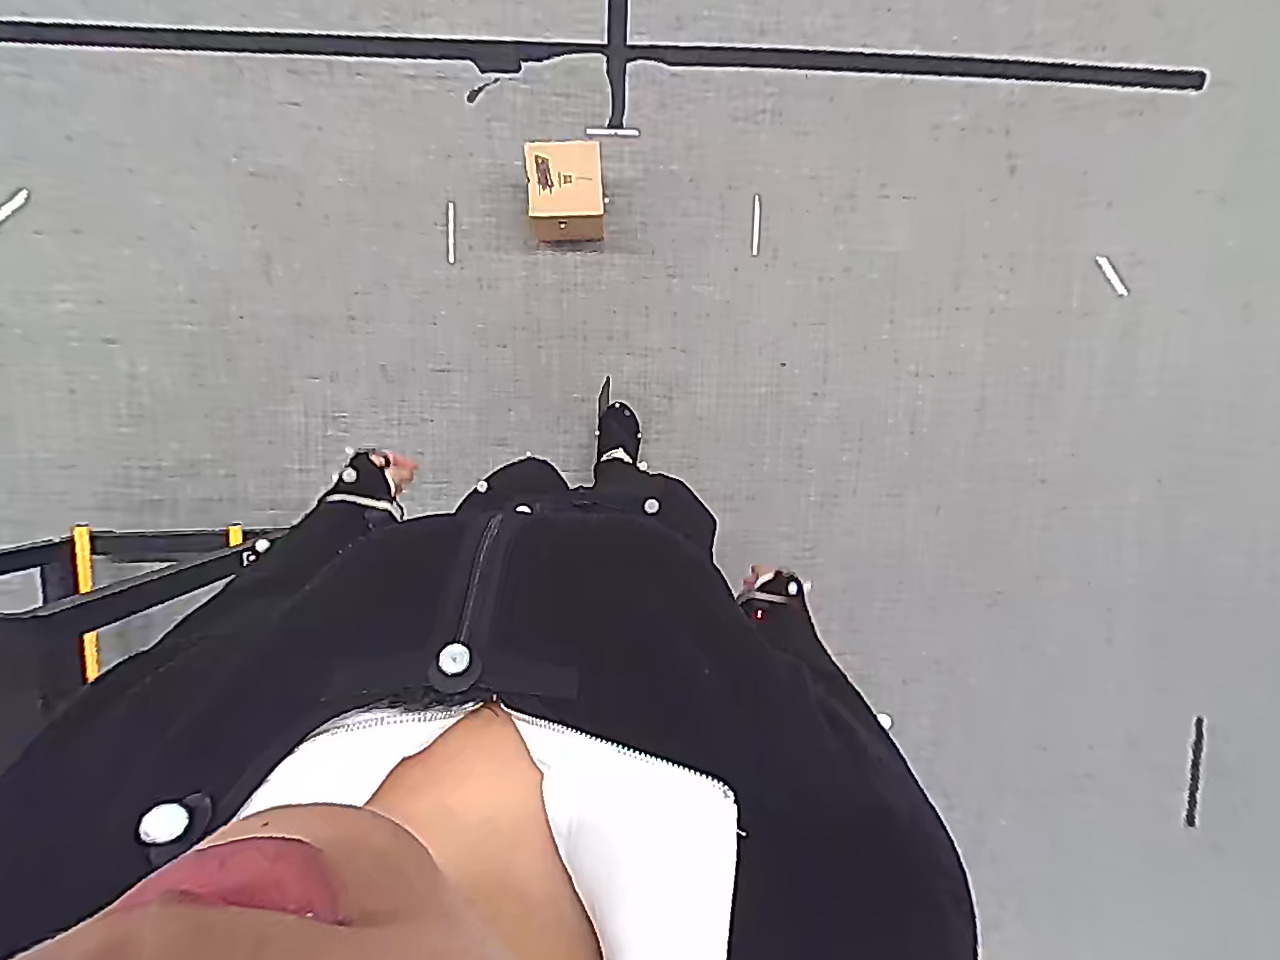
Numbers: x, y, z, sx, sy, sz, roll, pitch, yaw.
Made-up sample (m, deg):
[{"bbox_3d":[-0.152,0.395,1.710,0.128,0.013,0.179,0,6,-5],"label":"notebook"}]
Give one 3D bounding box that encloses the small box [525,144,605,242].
[{"bbox_3d":[-0.178,-0.695,1.324,0.179,0.176,0.168,-3,96,-4],"label":"small box"}]
